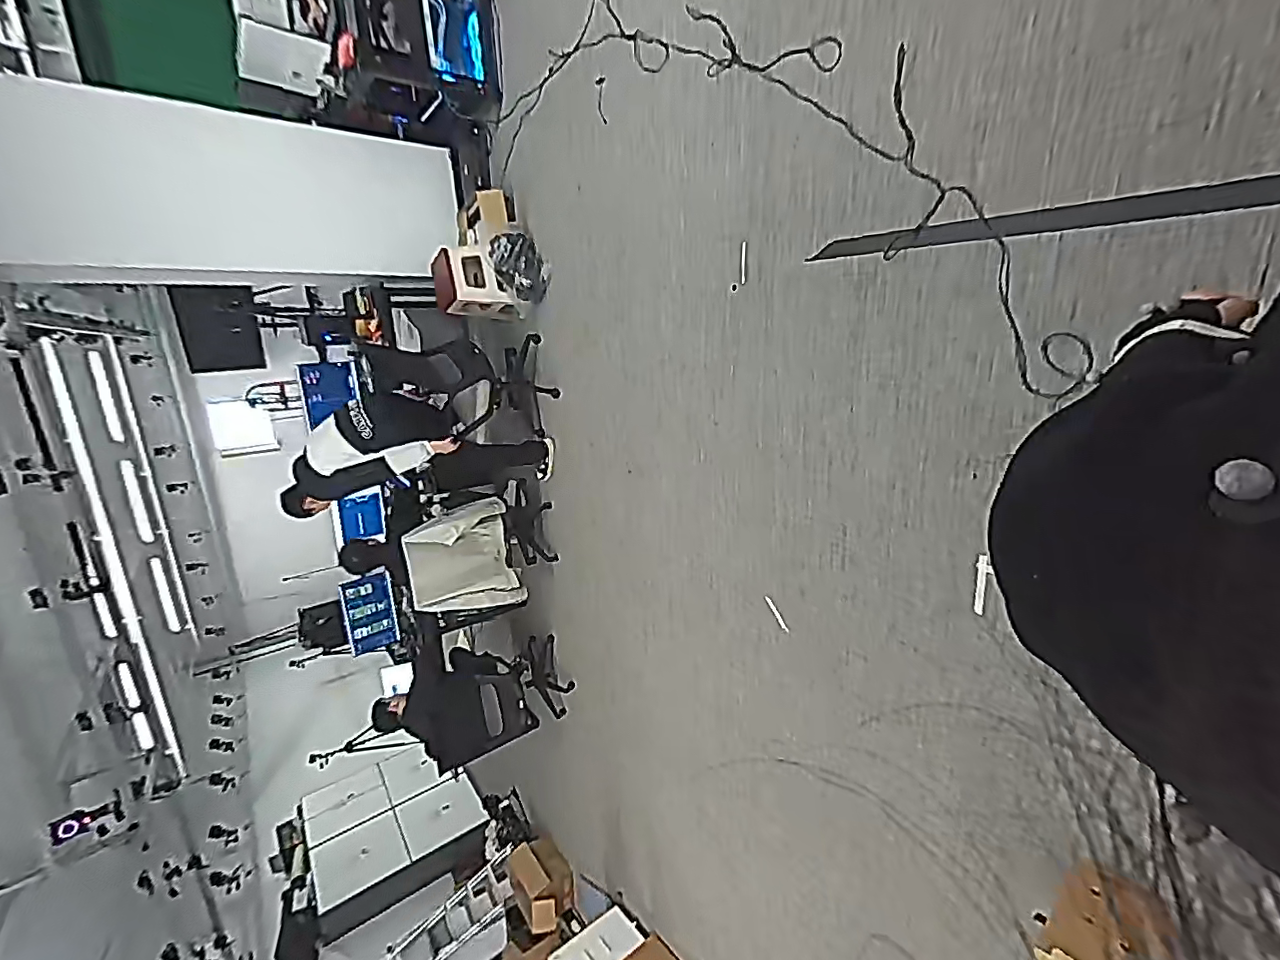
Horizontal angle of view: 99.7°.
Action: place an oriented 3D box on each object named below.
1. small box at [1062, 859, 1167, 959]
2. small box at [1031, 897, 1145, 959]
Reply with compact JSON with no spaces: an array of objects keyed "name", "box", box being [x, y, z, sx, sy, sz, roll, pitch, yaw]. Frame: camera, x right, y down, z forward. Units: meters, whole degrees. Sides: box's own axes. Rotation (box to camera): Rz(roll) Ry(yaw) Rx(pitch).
[{"name":"small box","box":[1.148,1.085,1.317,0.168,0.176,0.179,12,112,53]},{"name":"small box","box":[1.013,1.116,1.228,0.168,0.176,0.179,13,113,53]}]
